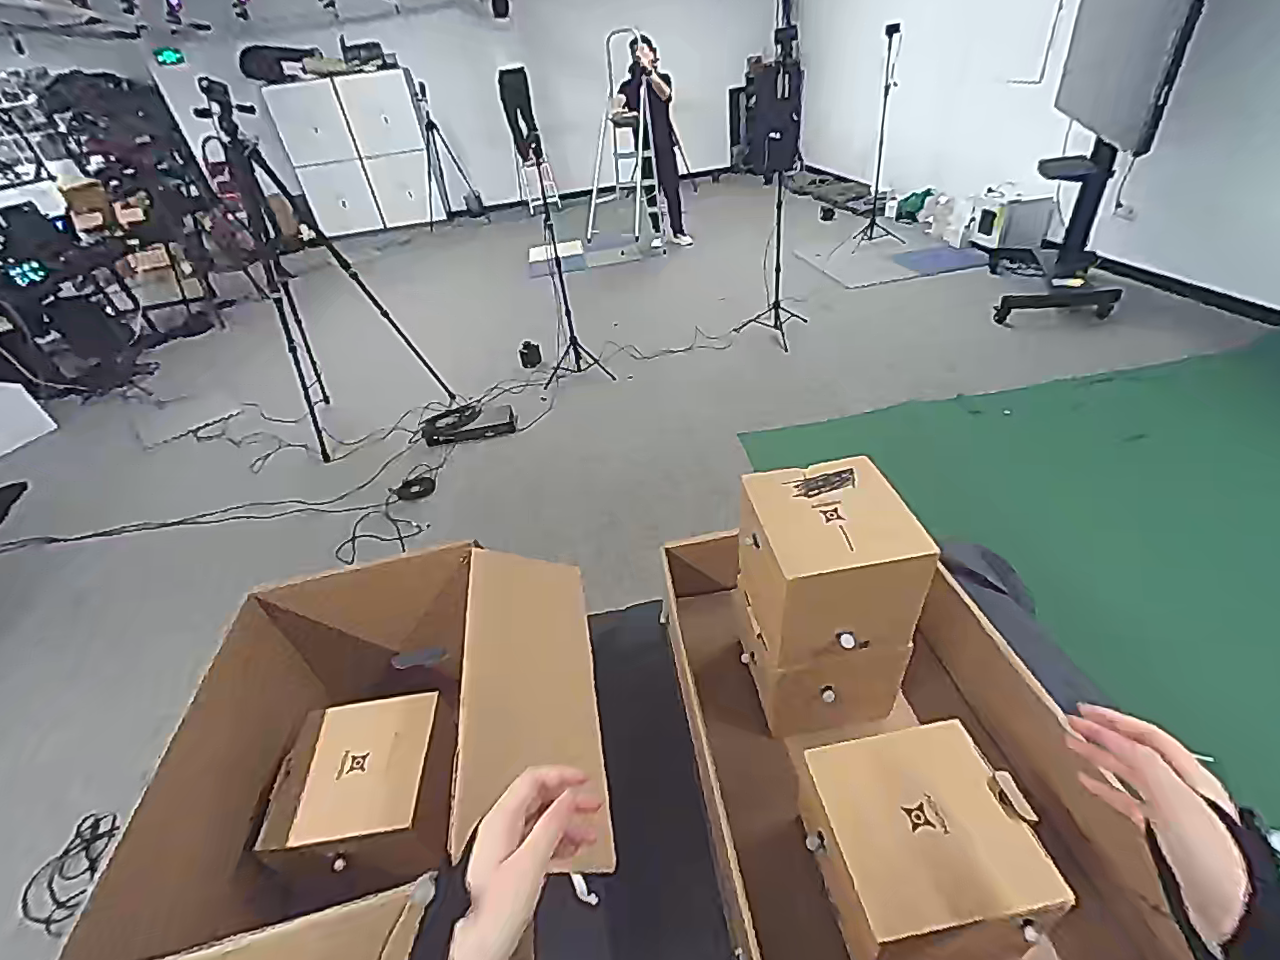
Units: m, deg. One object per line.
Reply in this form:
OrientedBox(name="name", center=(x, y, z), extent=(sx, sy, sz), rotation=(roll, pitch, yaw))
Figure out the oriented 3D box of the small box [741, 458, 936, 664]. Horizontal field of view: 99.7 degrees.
OrientedBox(name="small box", center=(0.226, 0.099, 0.674), extent=(0.168, 0.176, 0.179), rotation=(-9, 40, -2))
